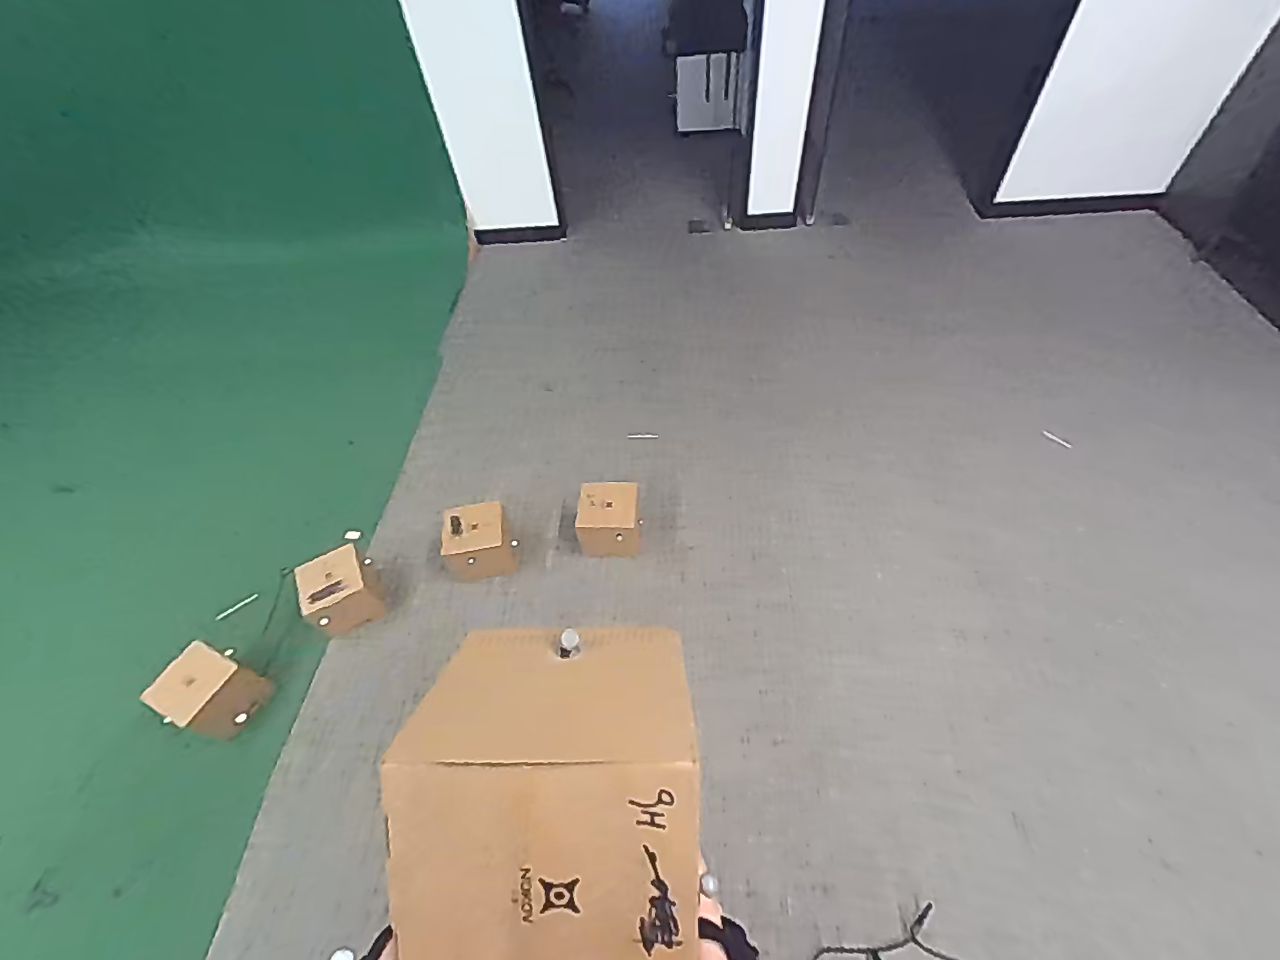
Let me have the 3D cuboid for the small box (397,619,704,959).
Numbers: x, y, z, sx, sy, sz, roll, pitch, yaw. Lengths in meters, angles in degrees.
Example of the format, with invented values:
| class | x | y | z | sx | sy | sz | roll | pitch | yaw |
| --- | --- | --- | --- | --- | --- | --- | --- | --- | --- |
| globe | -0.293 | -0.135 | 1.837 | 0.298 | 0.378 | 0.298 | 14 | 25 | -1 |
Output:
| class | x | y | z | sx | sy | sz | roll | pitch | yaw |
| --- | --- | --- | --- | --- | --- | --- | --- | --- | --- |
| small box | -0.050 | 0.211 | 0.392 | 0.179 | 0.168 | 0.176 | 1 | 9 | 1 |

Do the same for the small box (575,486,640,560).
| class | x | y | z | sx | sy | sz | roll | pitch | yaw |
| --- | --- | --- | --- | --- | --- | --- | --- | --- | --- |
| small box | -0.094 | 0.136 | 1.665 | 0.179 | 0.176 | 0.168 | 0 | 51 | 5 |

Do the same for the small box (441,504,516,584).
| class | x | y | z | sx | sy | sz | roll | pitch | yaw |
| --- | --- | --- | --- | --- | --- | --- | --- | --- | --- |
| small box | -0.487 | 0.200 | 1.648 | 0.179 | 0.176 | 0.168 | -9 | 52 | -3 |

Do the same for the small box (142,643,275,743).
| class | x | y | z | sx | sy | sz | roll | pitch | yaw |
| --- | --- | --- | --- | --- | --- | --- | --- | --- | --- |
| small box | -1.122 | 0.564 | 1.419 | 0.179 | 0.176 | 0.168 | 19 | 56 | 19 |
